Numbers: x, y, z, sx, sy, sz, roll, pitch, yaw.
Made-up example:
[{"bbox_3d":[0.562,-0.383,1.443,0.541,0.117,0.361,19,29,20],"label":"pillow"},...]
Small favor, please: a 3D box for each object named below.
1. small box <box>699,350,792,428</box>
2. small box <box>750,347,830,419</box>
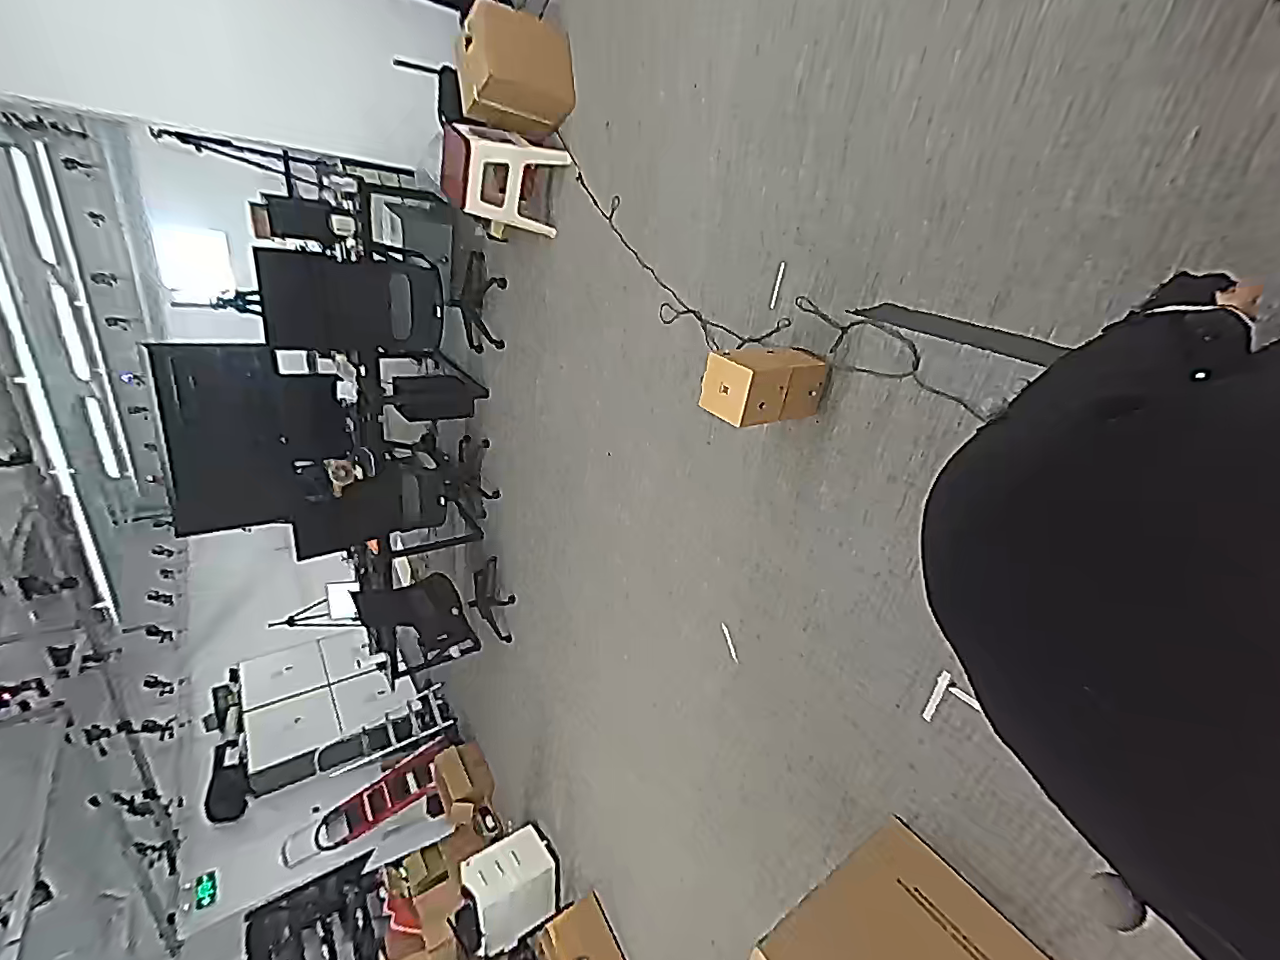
[{"bbox_3d":[0.297,-0.264,1.523,0.179,0.176,0.168,39,130,43],"label":"small box"},{"bbox_3d":[0.428,-0.295,1.613,0.179,0.176,0.168,38,130,42],"label":"small box"}]
